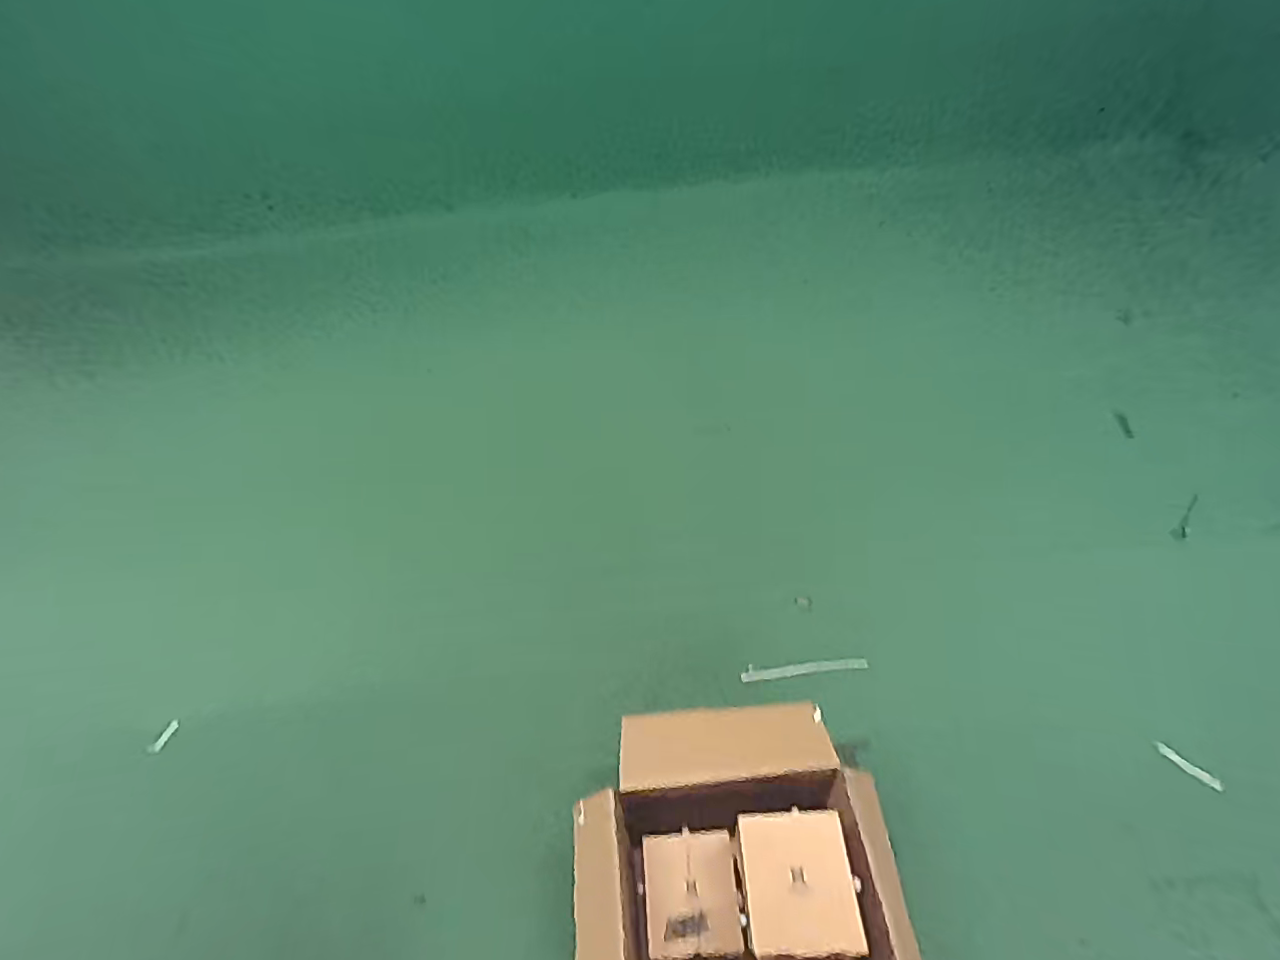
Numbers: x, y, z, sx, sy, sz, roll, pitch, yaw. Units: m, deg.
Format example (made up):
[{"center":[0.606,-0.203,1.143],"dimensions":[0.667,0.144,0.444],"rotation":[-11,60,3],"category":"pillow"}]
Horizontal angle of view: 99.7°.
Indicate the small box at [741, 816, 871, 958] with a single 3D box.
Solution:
[{"center":[0.260,0.675,0.898],"dimensions":[0.168,0.176,0.179],"rotation":[-6,51,5],"category":"small box"}]
